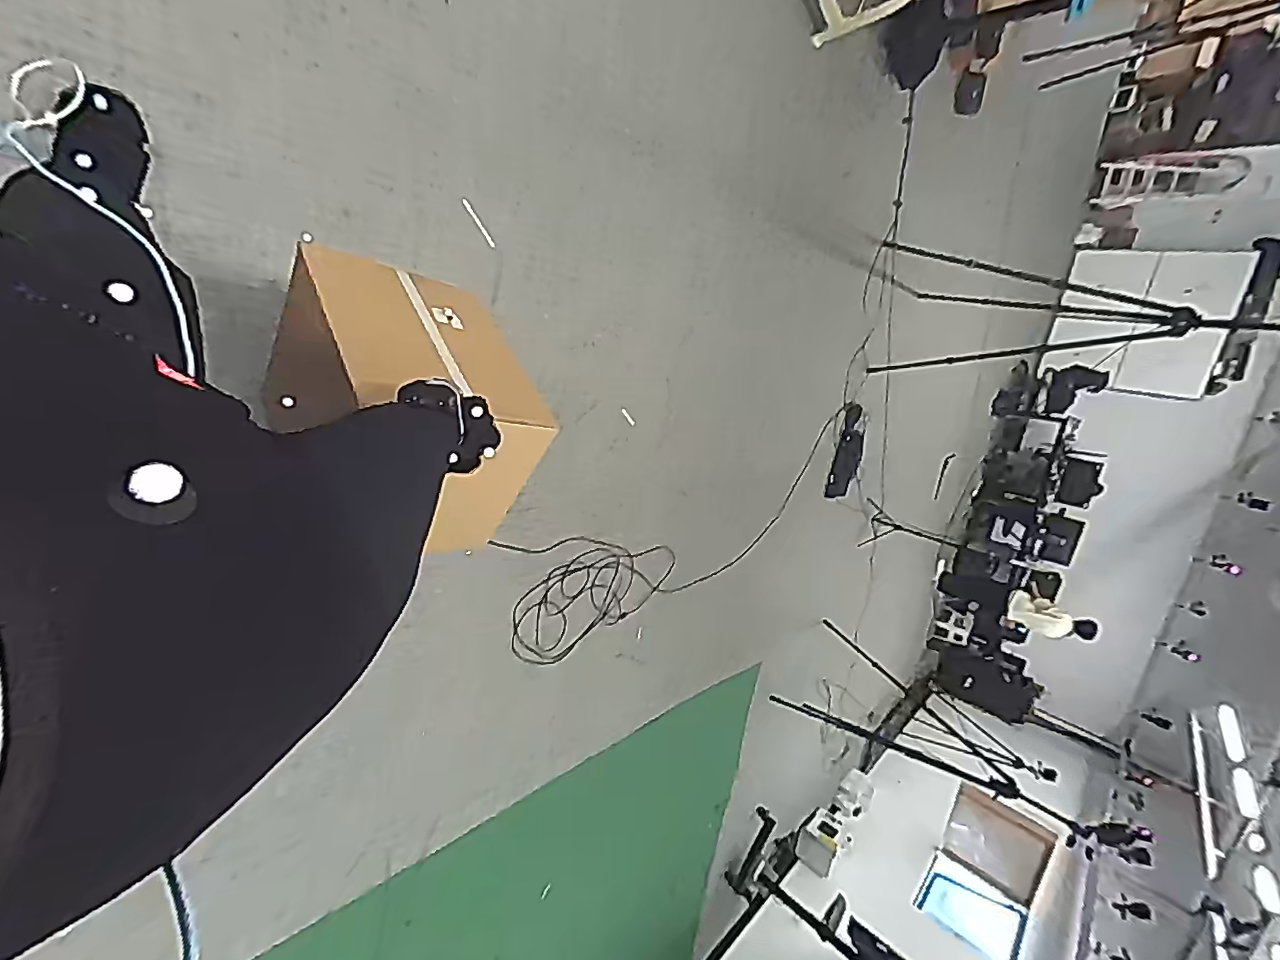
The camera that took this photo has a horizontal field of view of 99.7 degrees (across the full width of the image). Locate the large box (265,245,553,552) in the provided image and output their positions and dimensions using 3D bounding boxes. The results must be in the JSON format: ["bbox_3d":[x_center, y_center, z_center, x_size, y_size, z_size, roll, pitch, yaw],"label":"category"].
[{"bbox_3d":[-0.424,-0.130,0.953,0.320,0.408,0.320,3,133,-48],"label":"large box"}]
